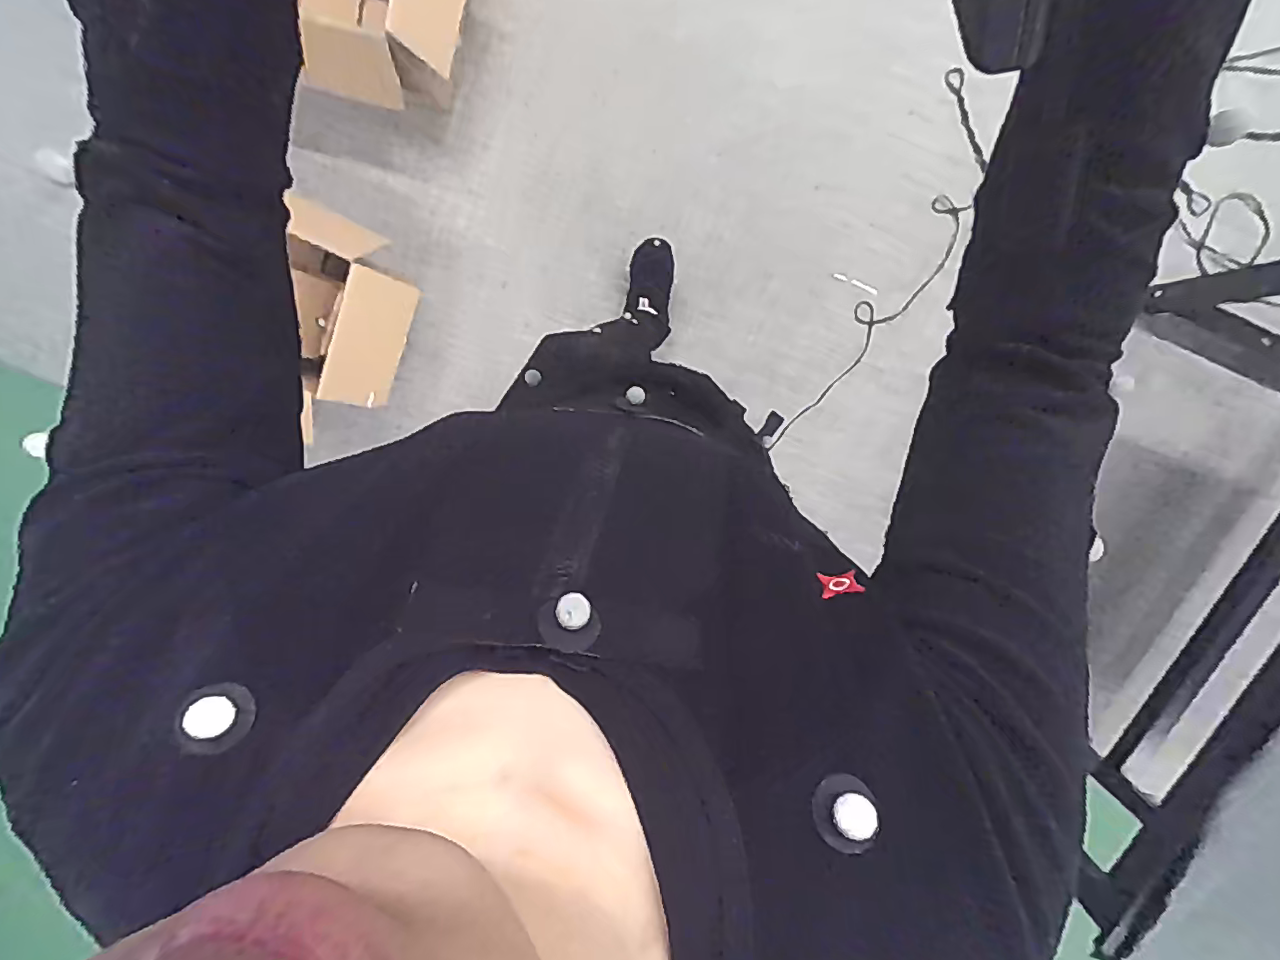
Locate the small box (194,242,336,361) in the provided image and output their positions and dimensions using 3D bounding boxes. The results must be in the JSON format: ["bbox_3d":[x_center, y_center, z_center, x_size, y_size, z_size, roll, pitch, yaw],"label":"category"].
[{"bbox_3d":[-0.793,-0.373,1.163,0.168,0.176,0.179,22,97,1],"label":"small box"}]
